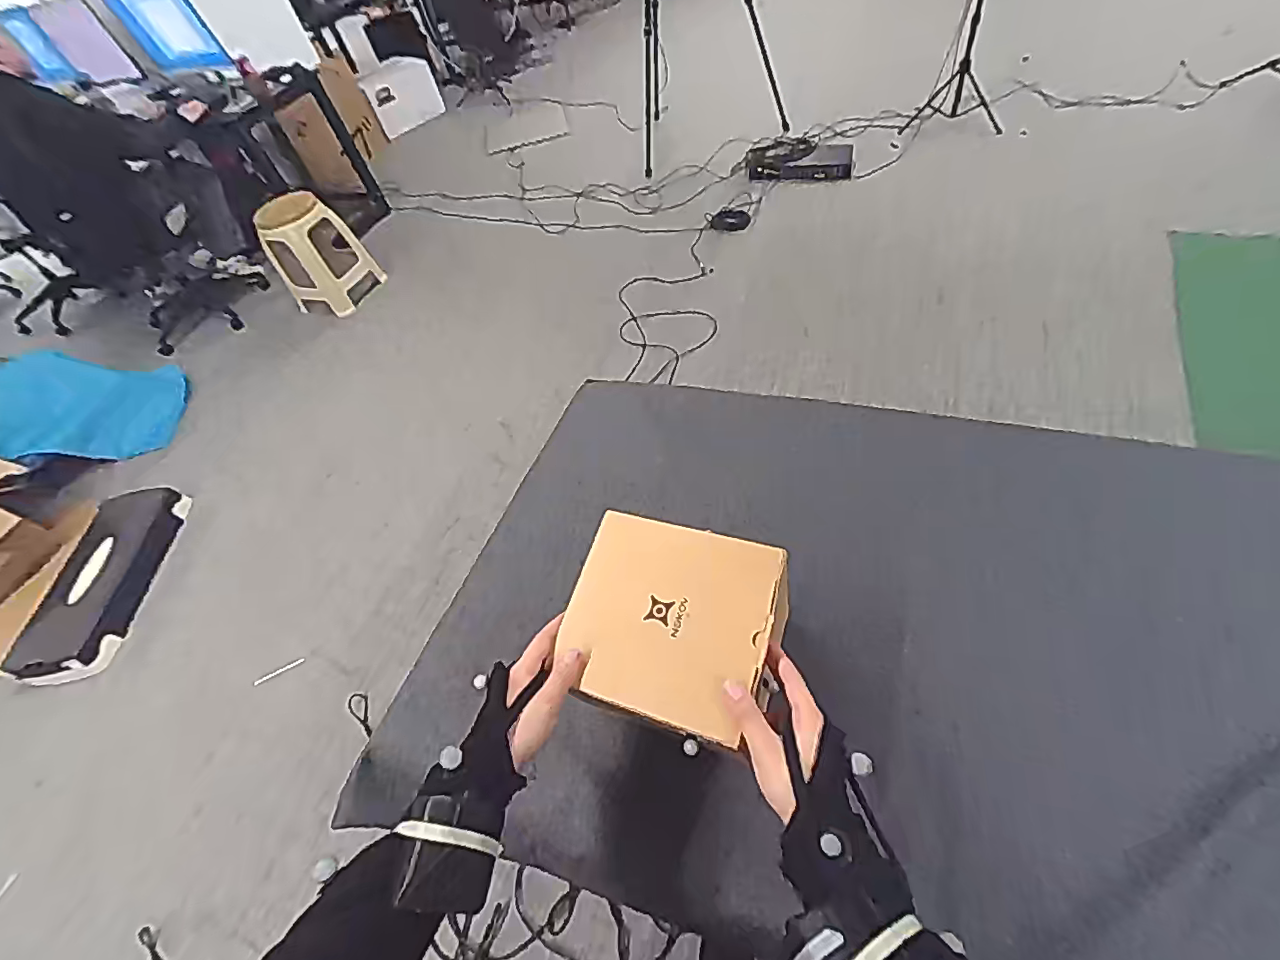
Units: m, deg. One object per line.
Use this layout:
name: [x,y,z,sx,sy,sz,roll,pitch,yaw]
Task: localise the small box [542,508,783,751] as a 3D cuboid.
small box: [0.037,0.151,0.533,0.179,0.176,0.168,11,62,20]
